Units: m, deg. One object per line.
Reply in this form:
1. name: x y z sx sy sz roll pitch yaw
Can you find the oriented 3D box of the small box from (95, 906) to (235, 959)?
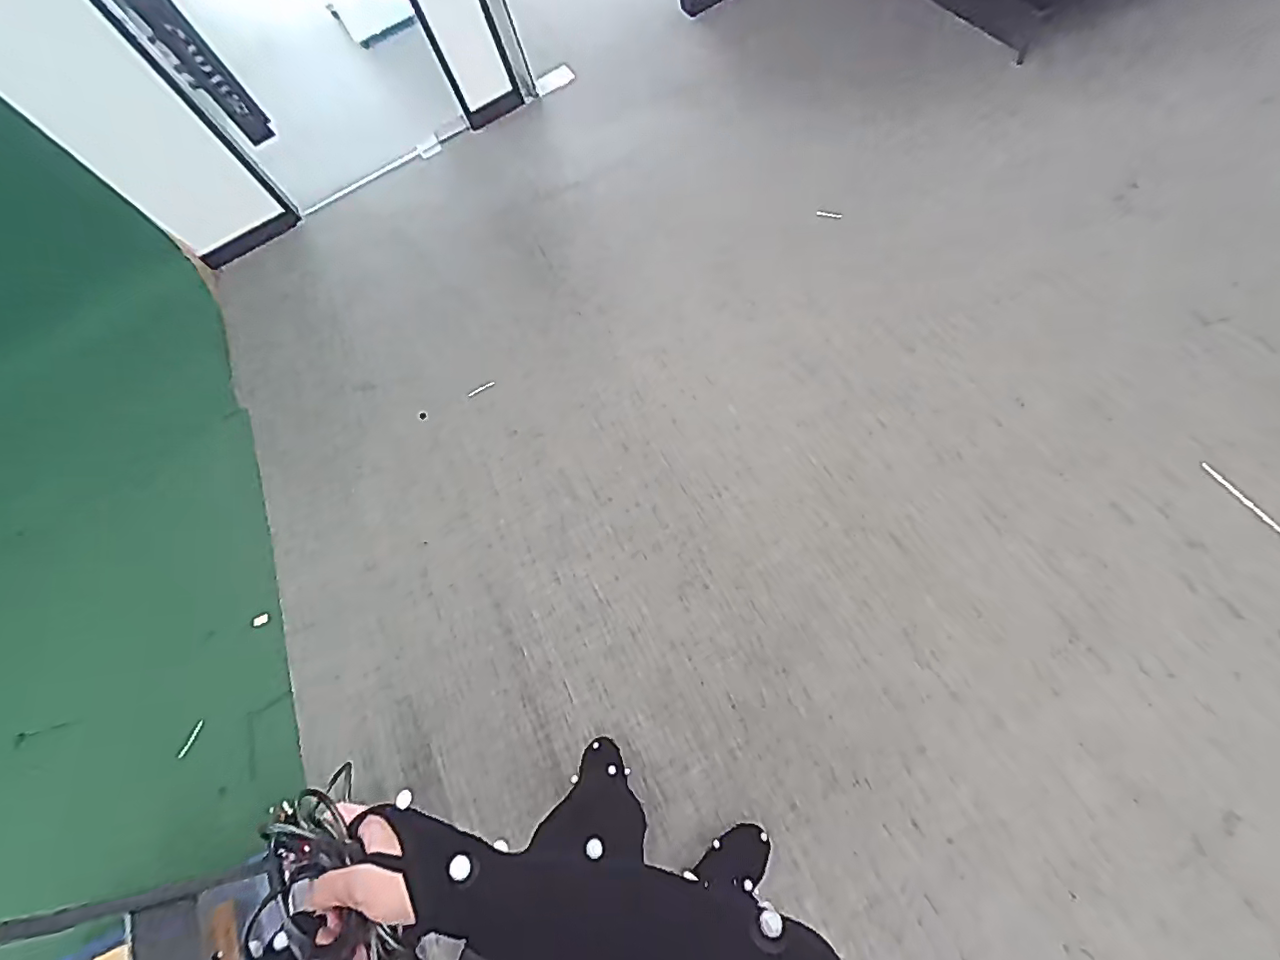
1. small box: -1.003 1.047 1.141 0.179 0.176 0.168 -26 63 -1
